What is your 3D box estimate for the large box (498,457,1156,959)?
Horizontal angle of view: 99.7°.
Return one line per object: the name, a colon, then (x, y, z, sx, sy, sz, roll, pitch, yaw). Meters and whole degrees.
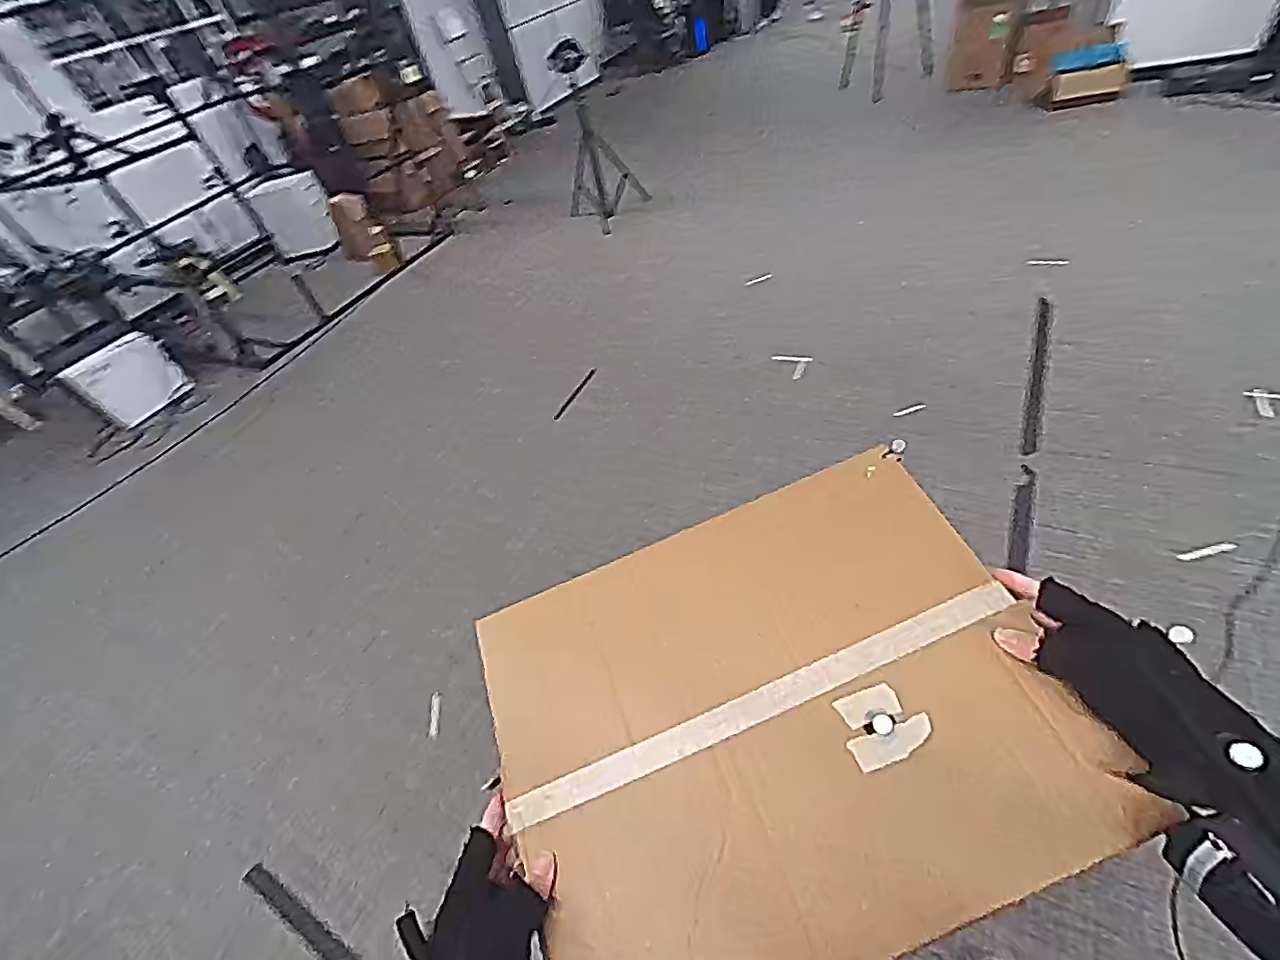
large box: (0.129, 0.248, 0.545, 0.408, 0.320, 0.320, -23, 57, -1)
